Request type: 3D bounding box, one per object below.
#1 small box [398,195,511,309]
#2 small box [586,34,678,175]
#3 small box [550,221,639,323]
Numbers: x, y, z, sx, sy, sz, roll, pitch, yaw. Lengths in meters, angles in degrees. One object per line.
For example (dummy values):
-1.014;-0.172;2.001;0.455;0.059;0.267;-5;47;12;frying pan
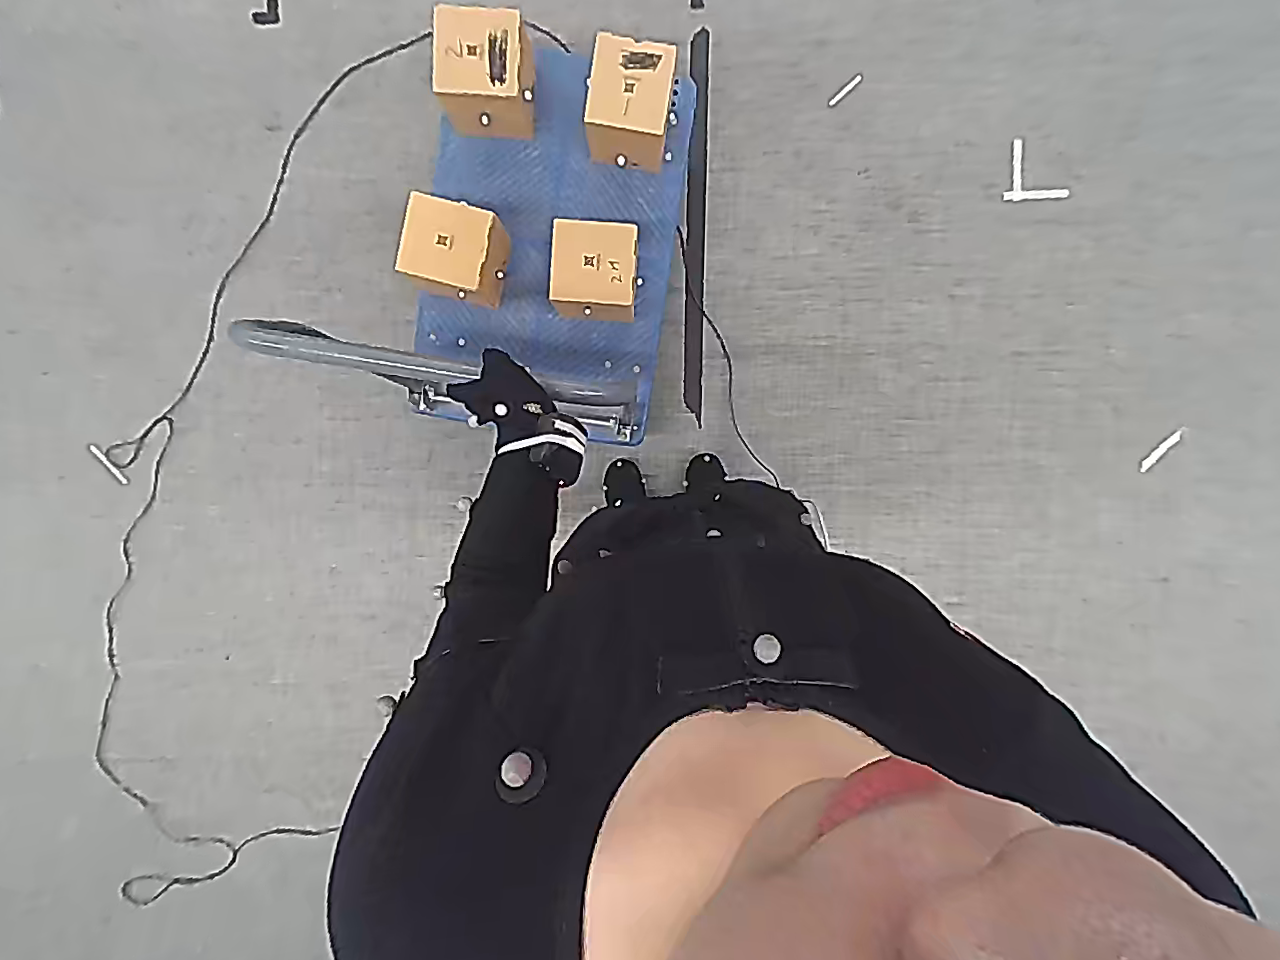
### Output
-0.400;-0.491;1.192;0.179;0.176;0.168;13;94;-3;small box
-0.018;-0.801;1.170;0.168;0.176;0.179;9;96;-1;small box
-0.095;-0.452;1.197;0.179;0.176;0.168;4;95;-1;small box
